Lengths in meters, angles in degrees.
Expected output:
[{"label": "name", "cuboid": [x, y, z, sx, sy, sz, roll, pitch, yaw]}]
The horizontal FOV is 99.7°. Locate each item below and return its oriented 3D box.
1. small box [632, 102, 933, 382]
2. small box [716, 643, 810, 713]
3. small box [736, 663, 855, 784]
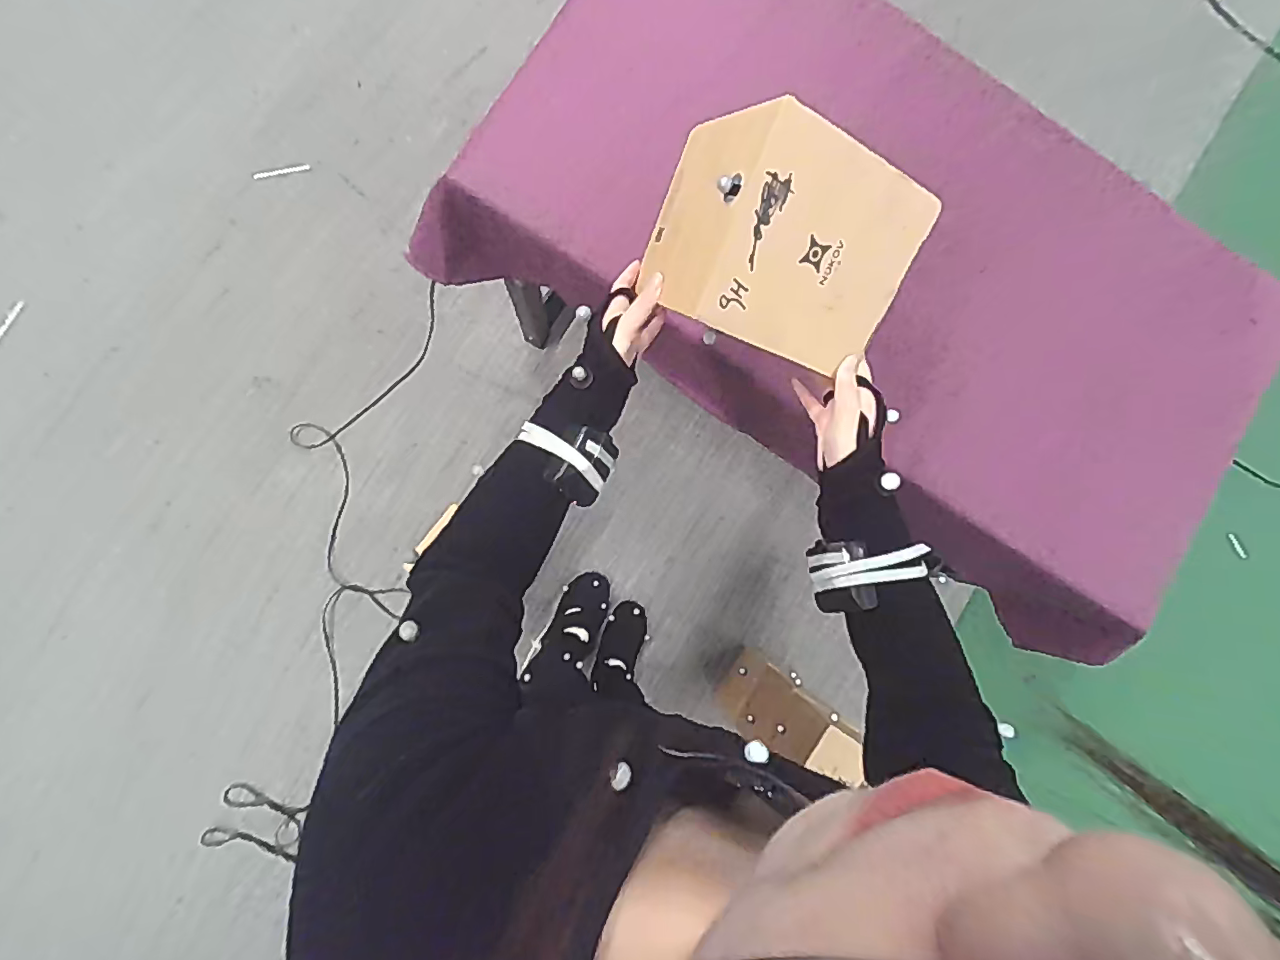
[{"label": "small box", "cuboid": [0.118, -0.212, 0.507, 0.179, 0.176, 0.168, 13, 109, -26]}, {"label": "small box", "cuboid": [0.324, 0.547, 1.407, 0.179, 0.176, 0.168, 36, 85, -5]}, {"label": "small box", "cuboid": [0.348, 0.547, 1.246, 0.179, 0.176, 0.168, 33, 86, -5]}]
